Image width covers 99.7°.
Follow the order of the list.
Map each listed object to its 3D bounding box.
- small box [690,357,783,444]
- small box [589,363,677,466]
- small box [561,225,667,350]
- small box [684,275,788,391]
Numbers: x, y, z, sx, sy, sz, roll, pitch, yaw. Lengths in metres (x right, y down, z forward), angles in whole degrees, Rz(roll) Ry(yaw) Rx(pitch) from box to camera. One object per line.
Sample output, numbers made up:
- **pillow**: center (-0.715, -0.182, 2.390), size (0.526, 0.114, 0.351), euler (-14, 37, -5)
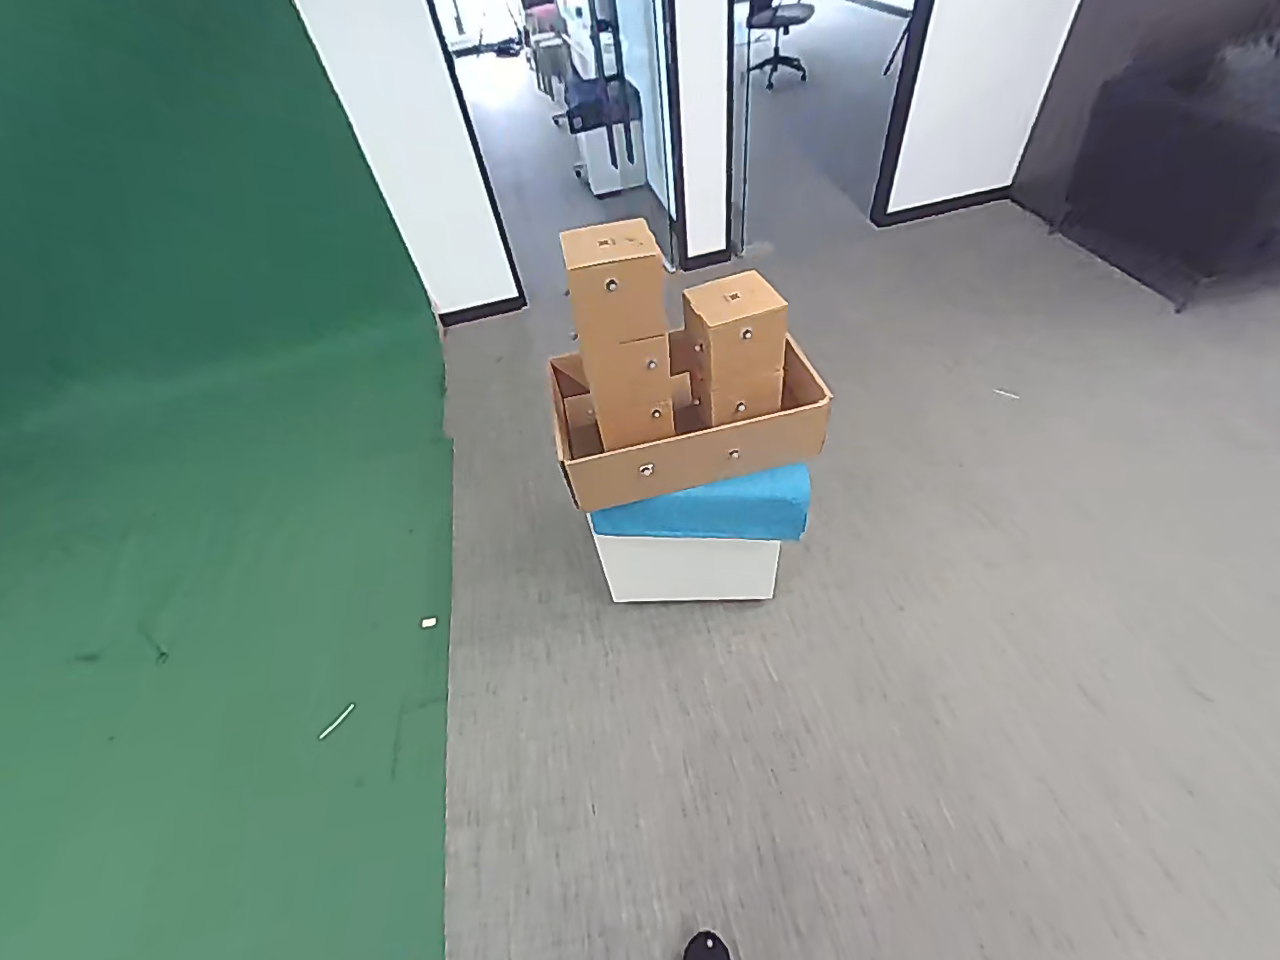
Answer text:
- **small box**: center (0.236, -0.212, 1.317), size (0.179, 0.176, 0.168), euler (-17, 47, -3)
- **small box**: center (-0.015, -0.155, 1.314), size (0.179, 0.176, 0.168), euler (-12, 47, -4)
- **small box**: center (-0.050, -0.378, 1.075), size (0.179, 0.176, 0.168), euler (-11, 47, -3)
- **small box**: center (0.211, -0.321, 1.198), size (0.179, 0.176, 0.168), euler (-17, 48, -5)
